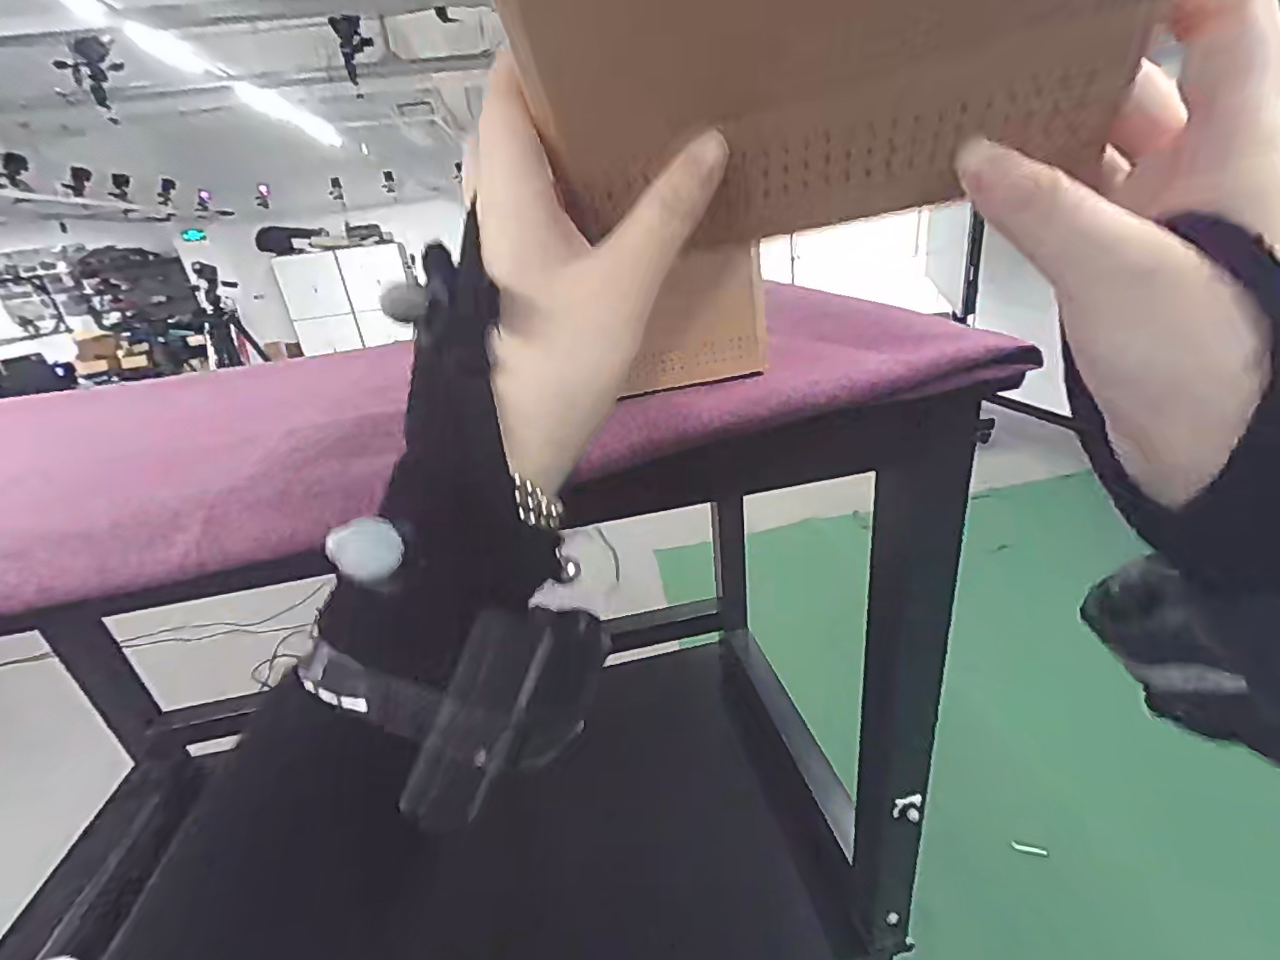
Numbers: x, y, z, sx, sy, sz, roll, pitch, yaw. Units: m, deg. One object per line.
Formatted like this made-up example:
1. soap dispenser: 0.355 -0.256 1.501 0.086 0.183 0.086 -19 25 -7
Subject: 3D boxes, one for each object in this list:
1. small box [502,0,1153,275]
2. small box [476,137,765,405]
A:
1. small box: 0.048 -0.191 0.176 0.179 0.176 0.168 -6 53 12
2. small box: -0.013 -0.166 0.434 0.179 0.176 0.168 -11 22 -5
